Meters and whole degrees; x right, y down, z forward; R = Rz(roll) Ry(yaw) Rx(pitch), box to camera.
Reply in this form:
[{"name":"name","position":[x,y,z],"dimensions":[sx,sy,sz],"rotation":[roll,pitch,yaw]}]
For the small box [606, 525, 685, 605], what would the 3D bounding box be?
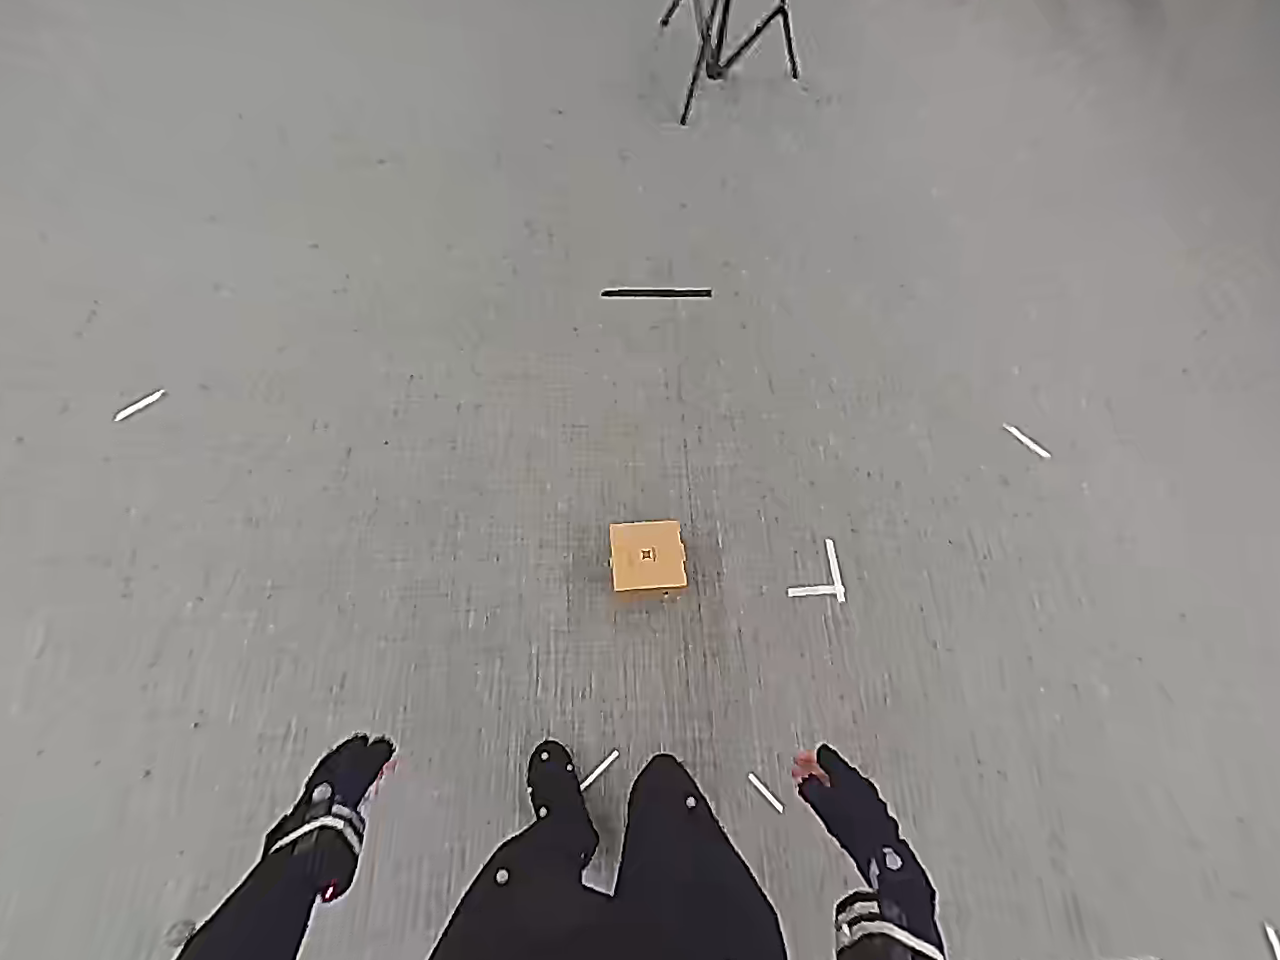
[{"name":"small box","position":[0.008,0.219,1.377],"dimensions":[0.179,0.176,0.168],"rotation":[-4,68,-6]}]
